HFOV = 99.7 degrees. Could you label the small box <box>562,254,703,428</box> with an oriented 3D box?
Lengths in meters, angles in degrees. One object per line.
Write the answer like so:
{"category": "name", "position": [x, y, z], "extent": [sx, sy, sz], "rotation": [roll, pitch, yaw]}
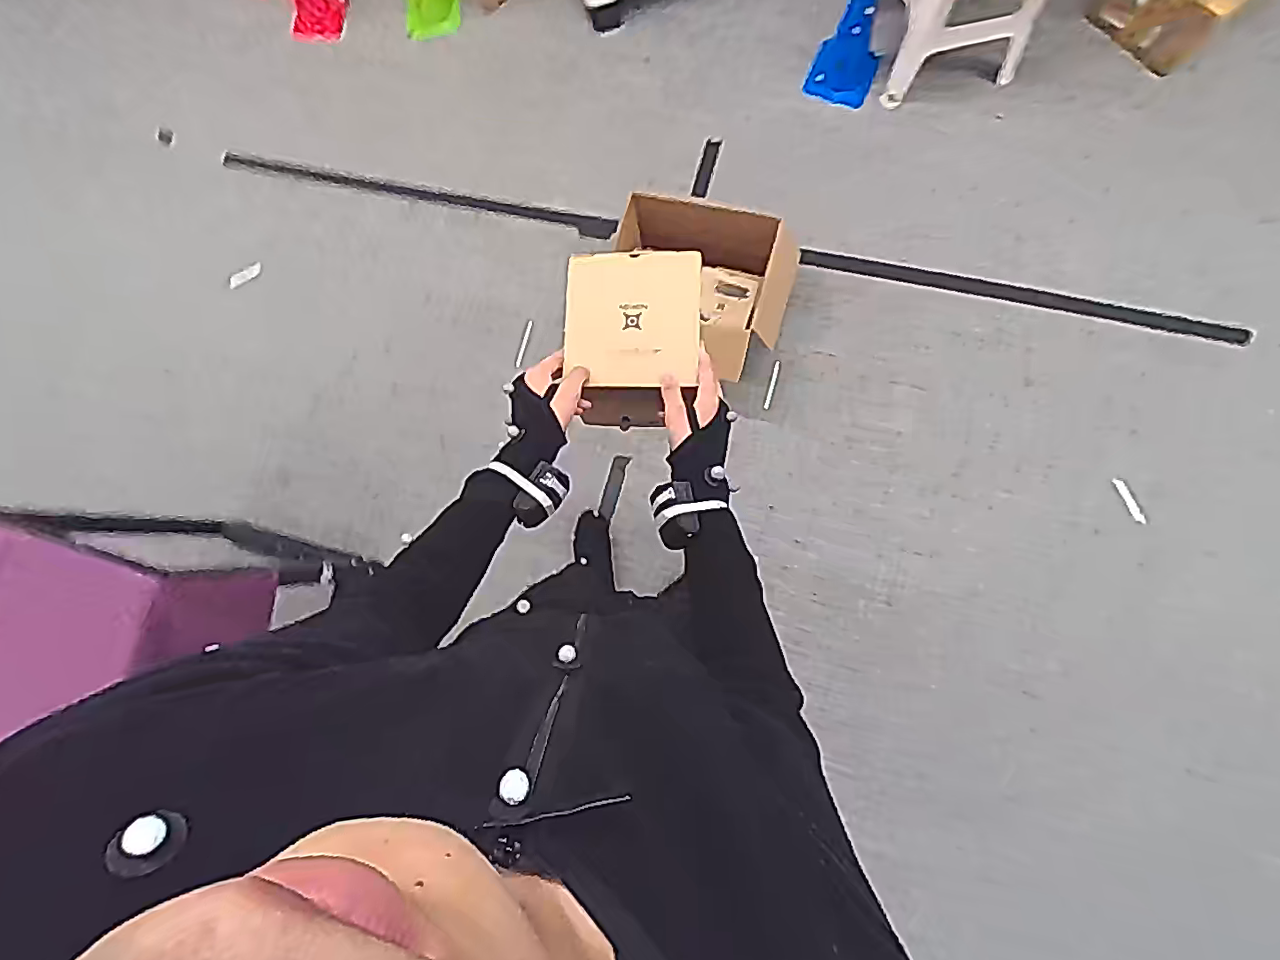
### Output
{"category": "small box", "position": [-0.004, -0.180, 0.733], "extent": [0.168, 0.176, 0.179], "rotation": [1, 79, 4]}
